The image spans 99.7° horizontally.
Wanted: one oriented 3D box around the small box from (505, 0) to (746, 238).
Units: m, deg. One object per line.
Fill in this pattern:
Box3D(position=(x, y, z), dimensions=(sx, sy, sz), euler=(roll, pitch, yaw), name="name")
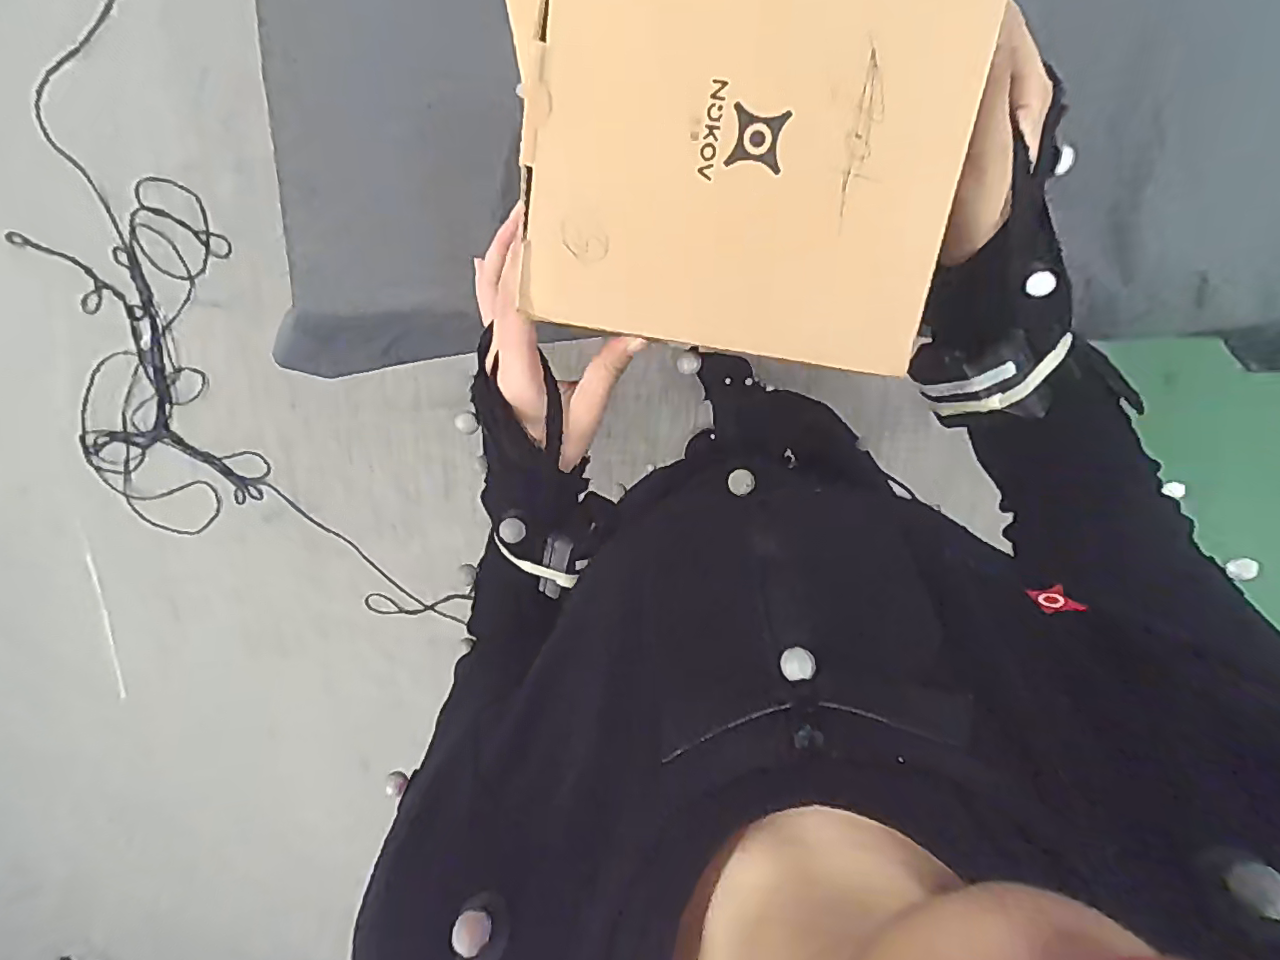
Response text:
Box3D(position=(-0.007, -0.335, 0.474), dimensions=(0.168, 0.176, 0.179), euler=(-8, 102, 6), name="small box")
